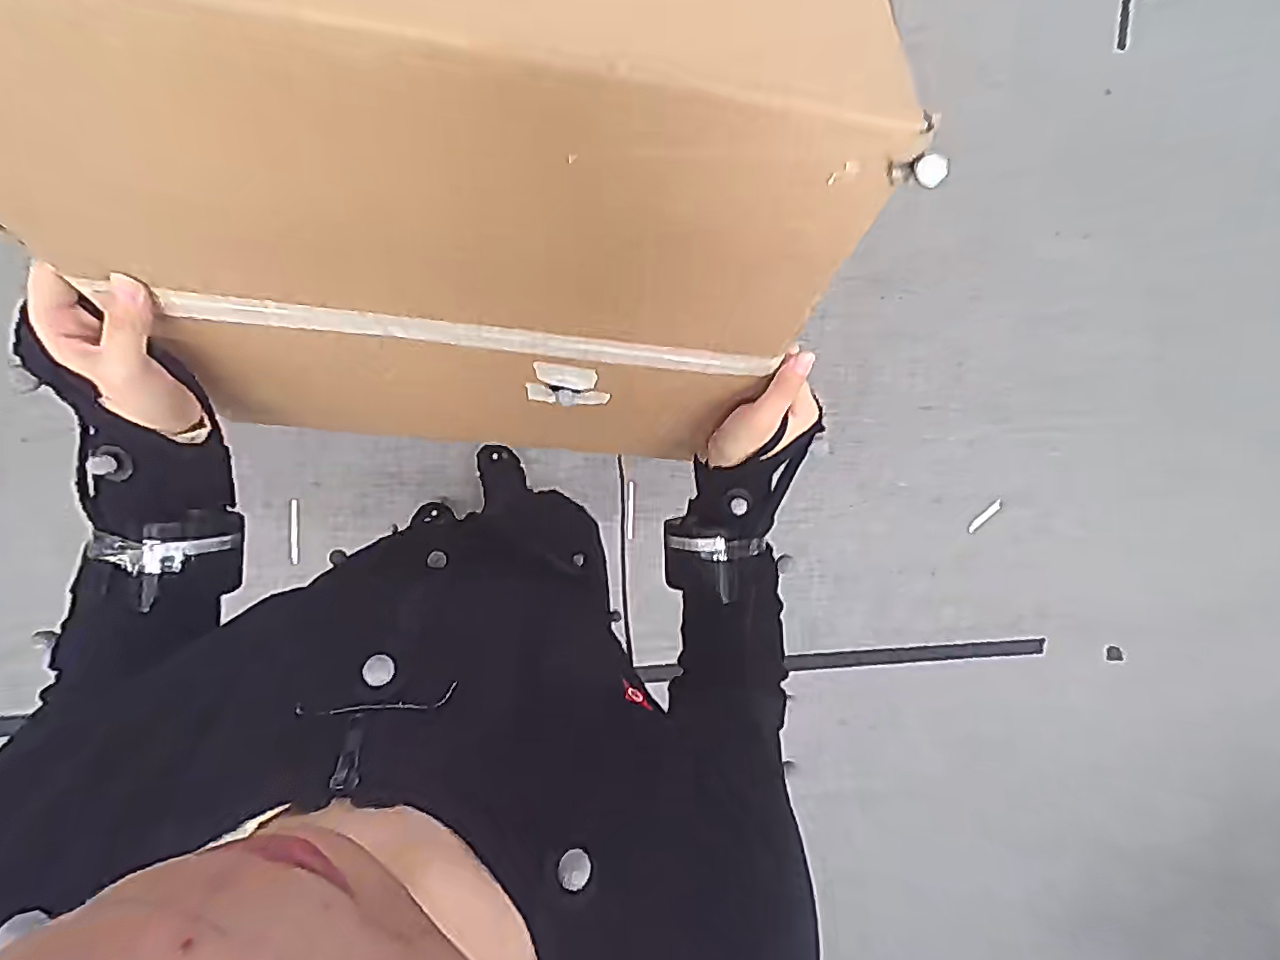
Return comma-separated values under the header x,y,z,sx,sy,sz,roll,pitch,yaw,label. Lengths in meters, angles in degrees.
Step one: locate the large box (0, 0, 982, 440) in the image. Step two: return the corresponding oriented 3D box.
x,y,z,sx,sy,sz,roll,pitch,yaw,label
-0.092,-0.244,0.366,0.408,0.320,0.320,4,67,-8,large box
